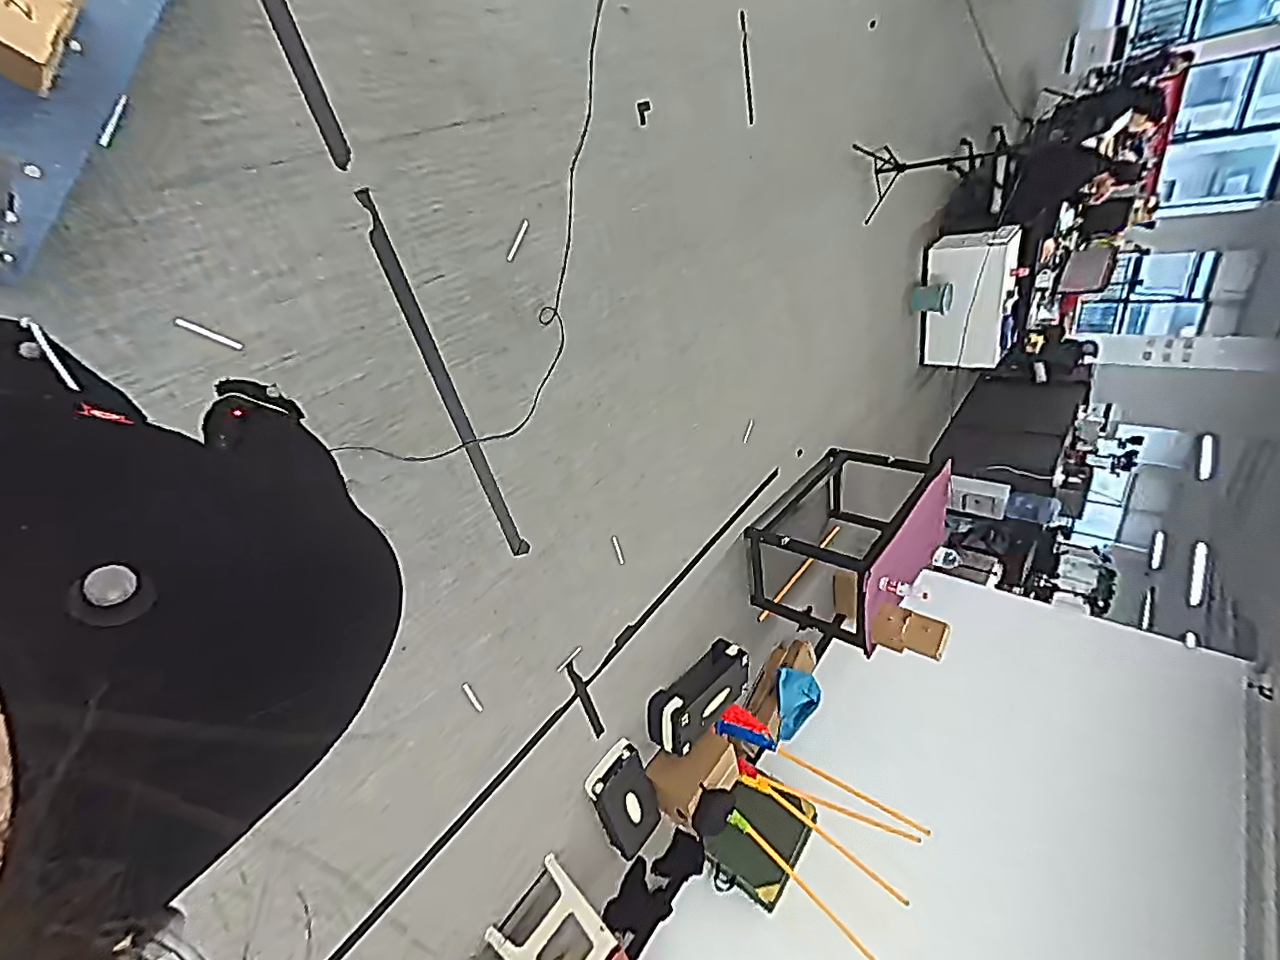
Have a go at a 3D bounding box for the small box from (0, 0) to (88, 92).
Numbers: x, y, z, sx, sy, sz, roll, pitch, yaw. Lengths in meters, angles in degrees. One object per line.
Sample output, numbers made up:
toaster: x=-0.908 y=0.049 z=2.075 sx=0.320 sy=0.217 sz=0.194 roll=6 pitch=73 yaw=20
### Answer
small box: x=-0.874 y=-0.661 z=0.713 sx=0.179 sy=0.176 sz=0.168 roll=22 pitch=85 yaw=-49
